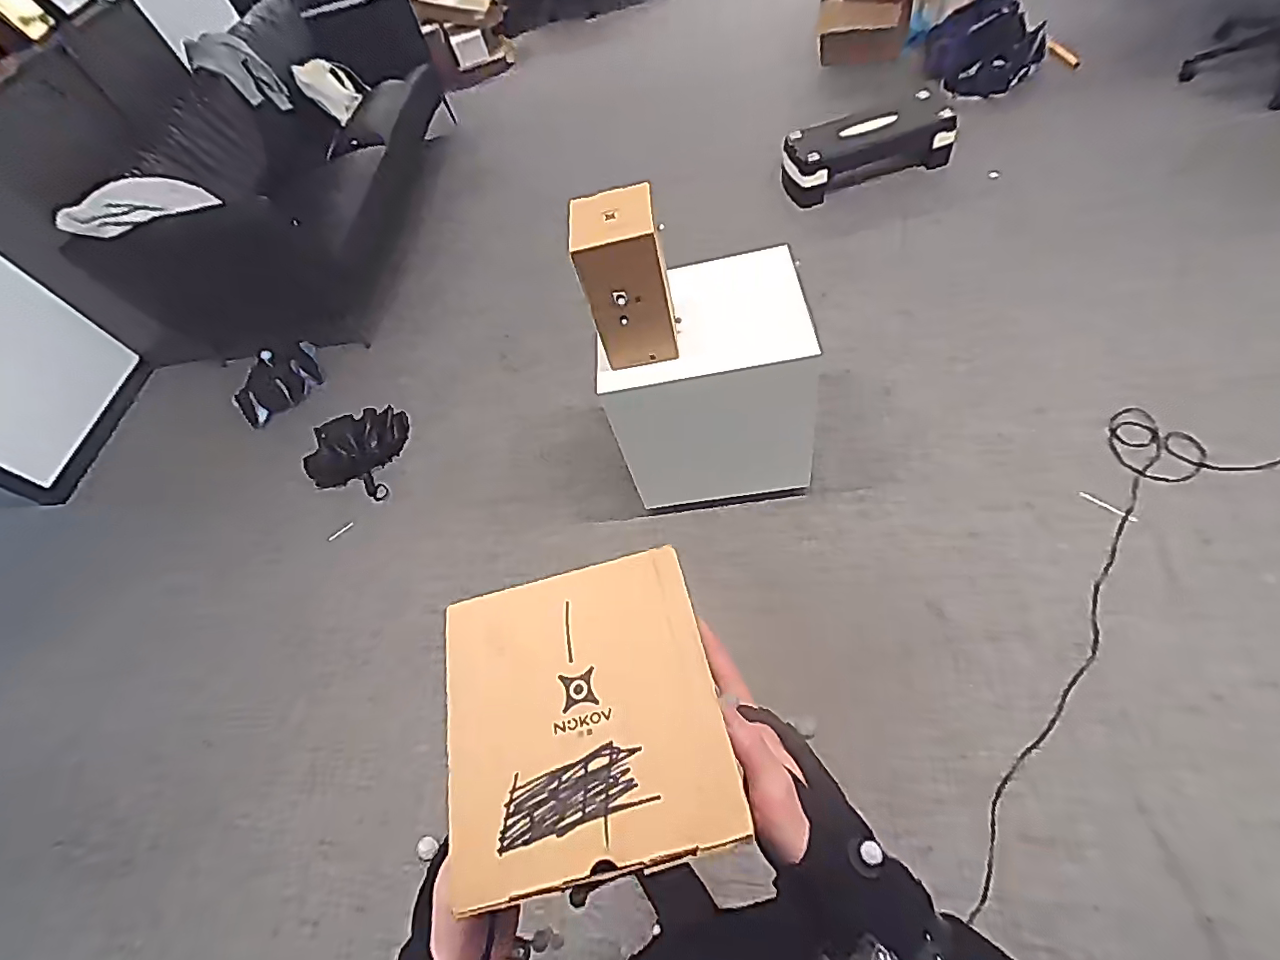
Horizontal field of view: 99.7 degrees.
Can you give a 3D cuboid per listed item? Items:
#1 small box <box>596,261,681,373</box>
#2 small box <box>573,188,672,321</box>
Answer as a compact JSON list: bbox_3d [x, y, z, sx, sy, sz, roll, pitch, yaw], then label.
[{"bbox_3d":[0.000,-0.377,1.252,0.168,0.176,0.179,-8,55,9],"label":"small box"},{"bbox_3d":[-0.033,-0.459,1.115,0.168,0.176,0.179,-10,57,9],"label":"small box"}]
